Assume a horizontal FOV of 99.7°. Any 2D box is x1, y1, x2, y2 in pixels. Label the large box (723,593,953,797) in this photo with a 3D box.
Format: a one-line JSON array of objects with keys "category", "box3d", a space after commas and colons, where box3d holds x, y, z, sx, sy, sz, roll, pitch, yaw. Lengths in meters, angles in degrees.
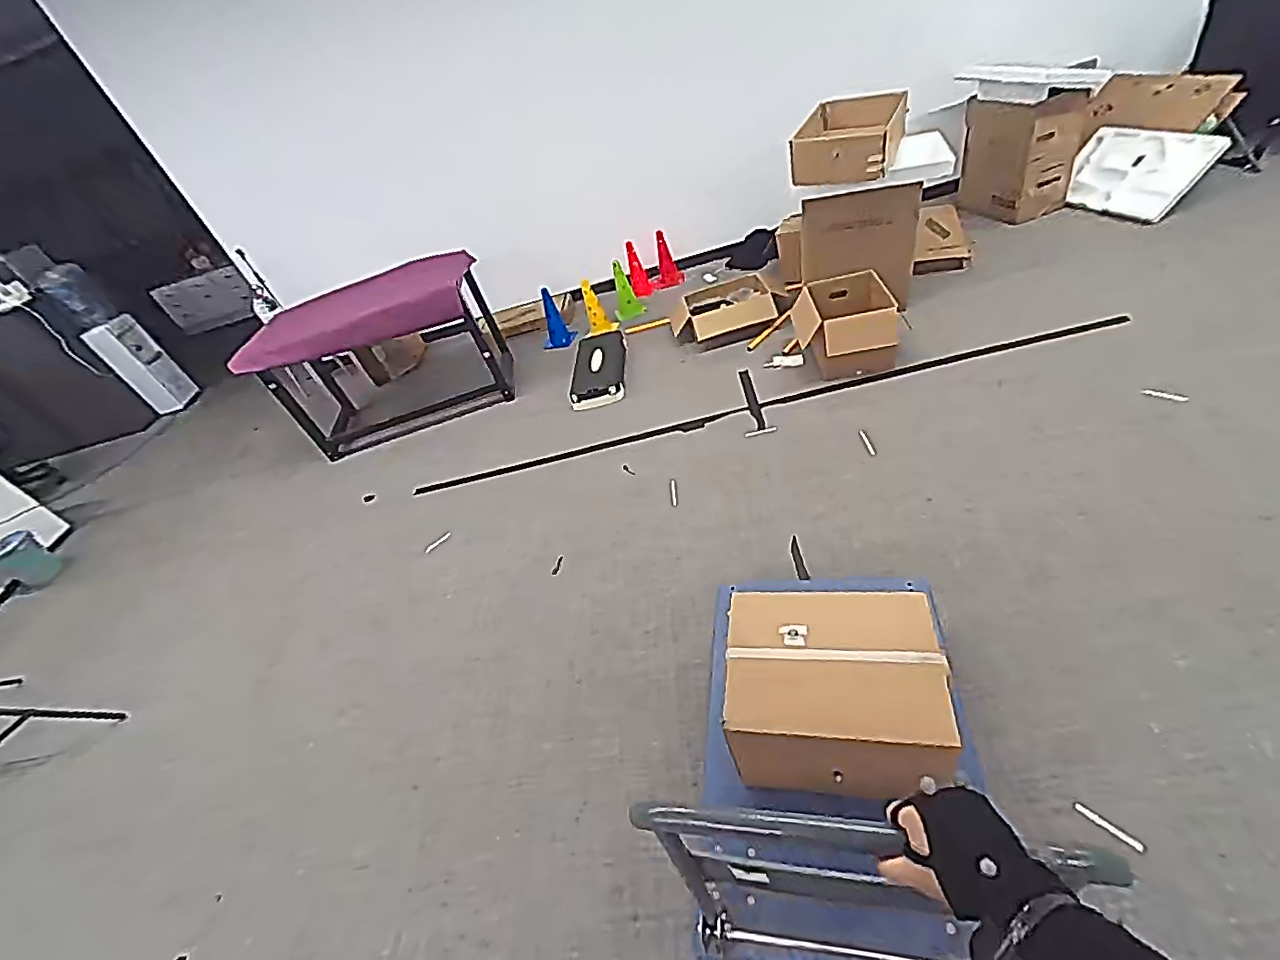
[{"category": "large box", "box3d": [0.415, 0.469, 1.184, 0.408, 0.320, 0.320, -5, 41, 18]}]
